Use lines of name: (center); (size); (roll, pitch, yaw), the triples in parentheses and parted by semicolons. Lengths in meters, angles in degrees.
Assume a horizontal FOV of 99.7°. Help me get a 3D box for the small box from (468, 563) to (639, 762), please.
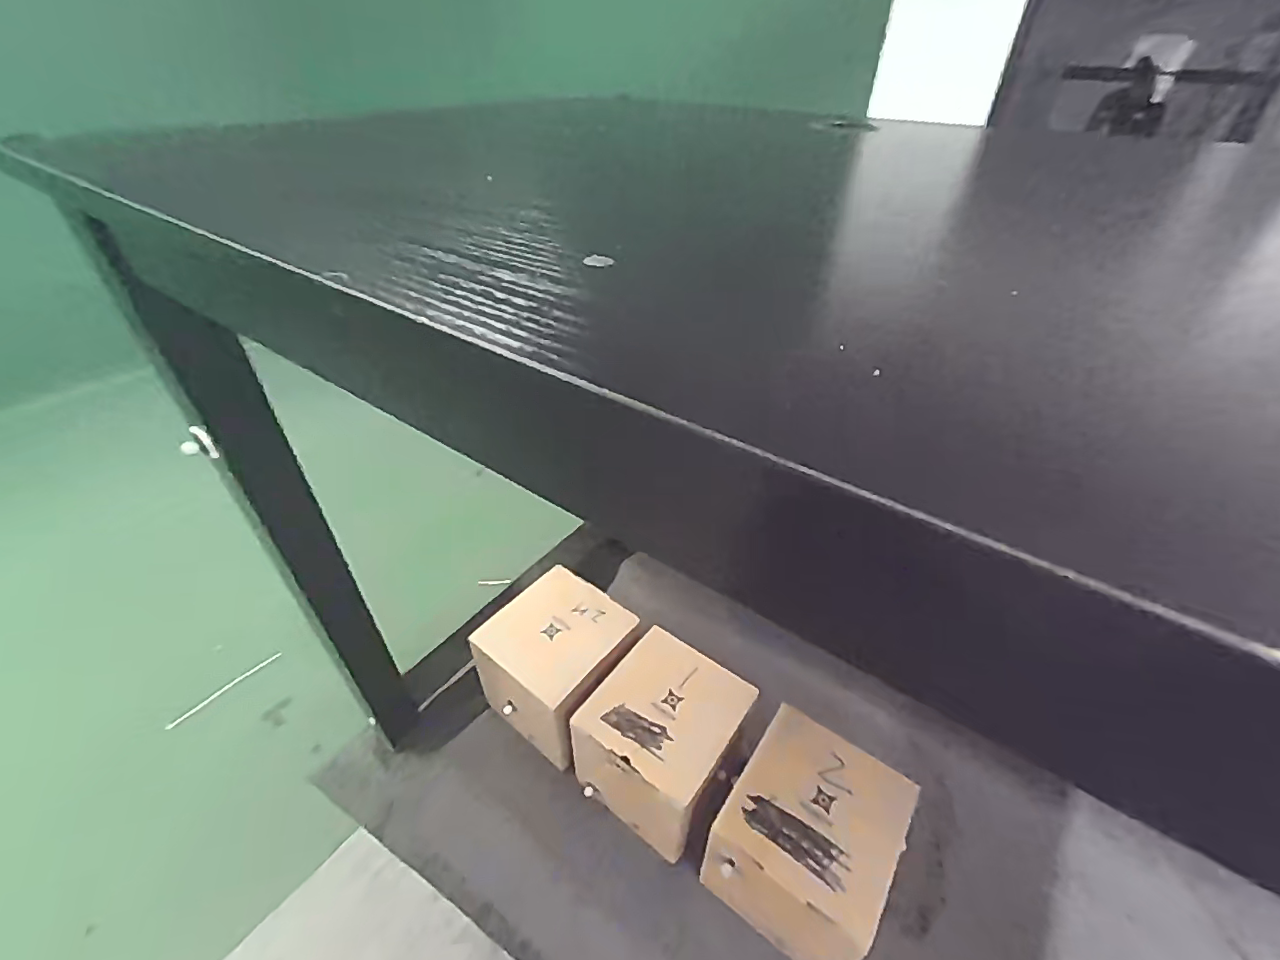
small box: (-0.116, 0.263, 0.782); (0.168, 0.176, 0.179); (29, 46, 28)
